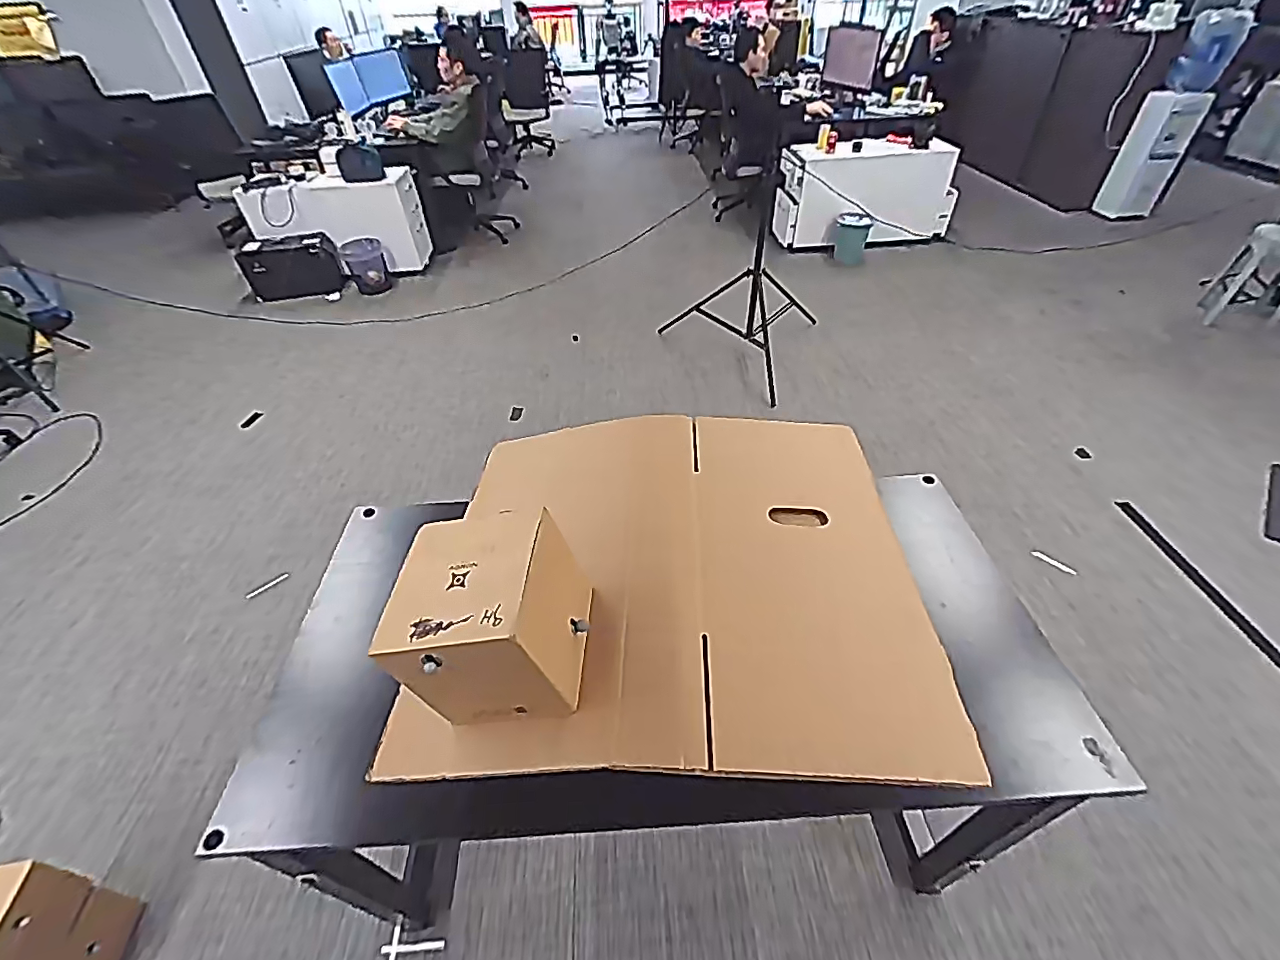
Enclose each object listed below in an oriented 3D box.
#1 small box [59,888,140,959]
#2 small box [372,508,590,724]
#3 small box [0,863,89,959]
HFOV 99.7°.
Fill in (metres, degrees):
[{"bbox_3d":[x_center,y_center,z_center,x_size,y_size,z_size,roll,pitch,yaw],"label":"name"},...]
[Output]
[{"bbox_3d":[-1.199,0.975,1.114,0.168,0.176,0.179,-6,44,-4],"label":"small box"},{"bbox_3d":[-0.166,0.161,0.636,0.168,0.176,0.179,-11,41,13],"label":"small box"},{"bbox_3d":[-1.206,0.852,1.007,0.168,0.176,0.179,-8,42,-6],"label":"small box"}]
